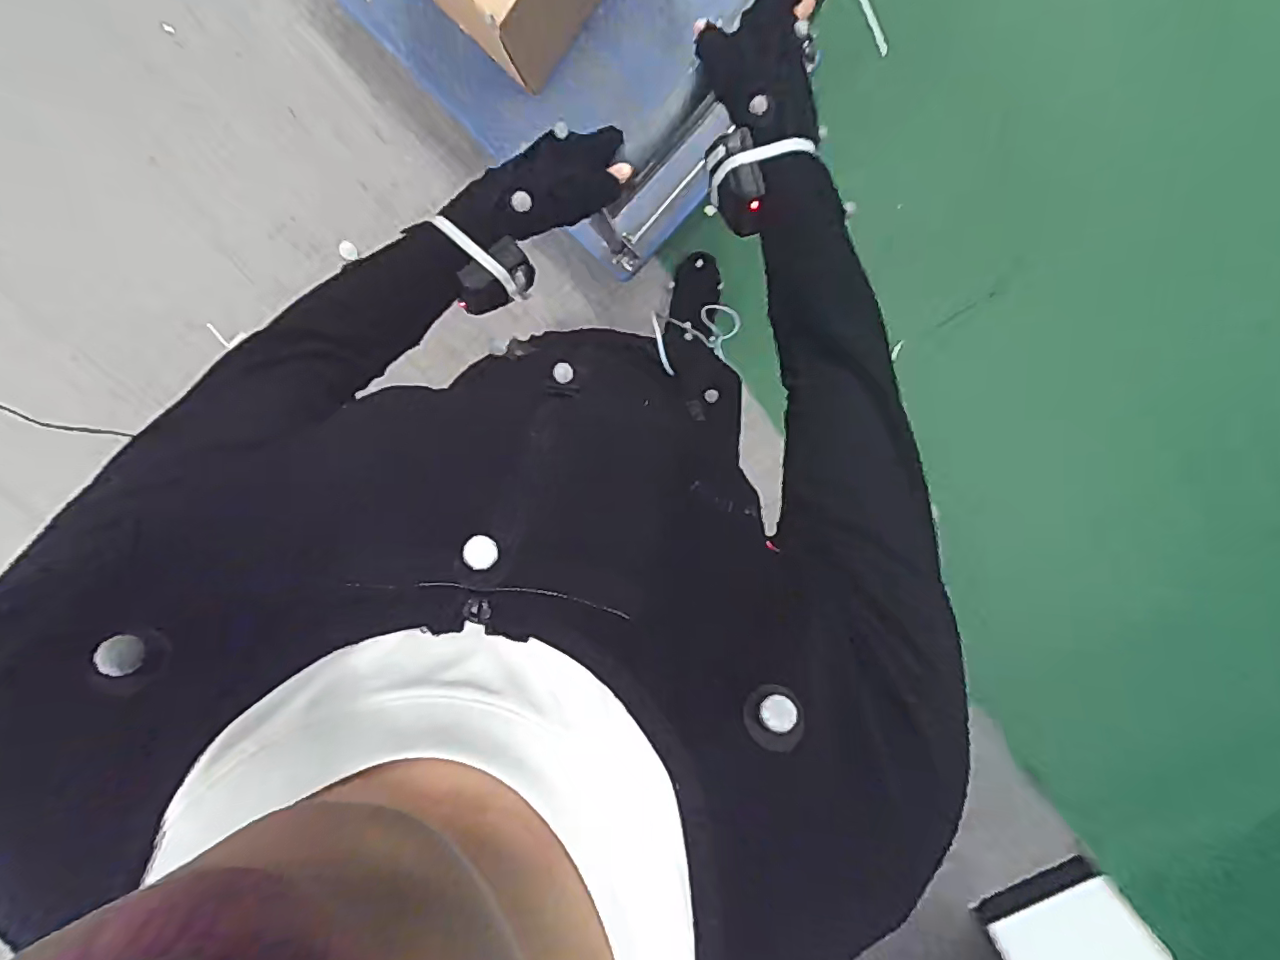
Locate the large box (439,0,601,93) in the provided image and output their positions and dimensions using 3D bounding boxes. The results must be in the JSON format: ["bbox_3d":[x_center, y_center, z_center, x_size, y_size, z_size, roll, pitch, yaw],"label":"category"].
[{"bbox_3d":[-0.181,-0.931,0.831,0.320,0.320,0.408,39,105,-13],"label":"large box"}]
